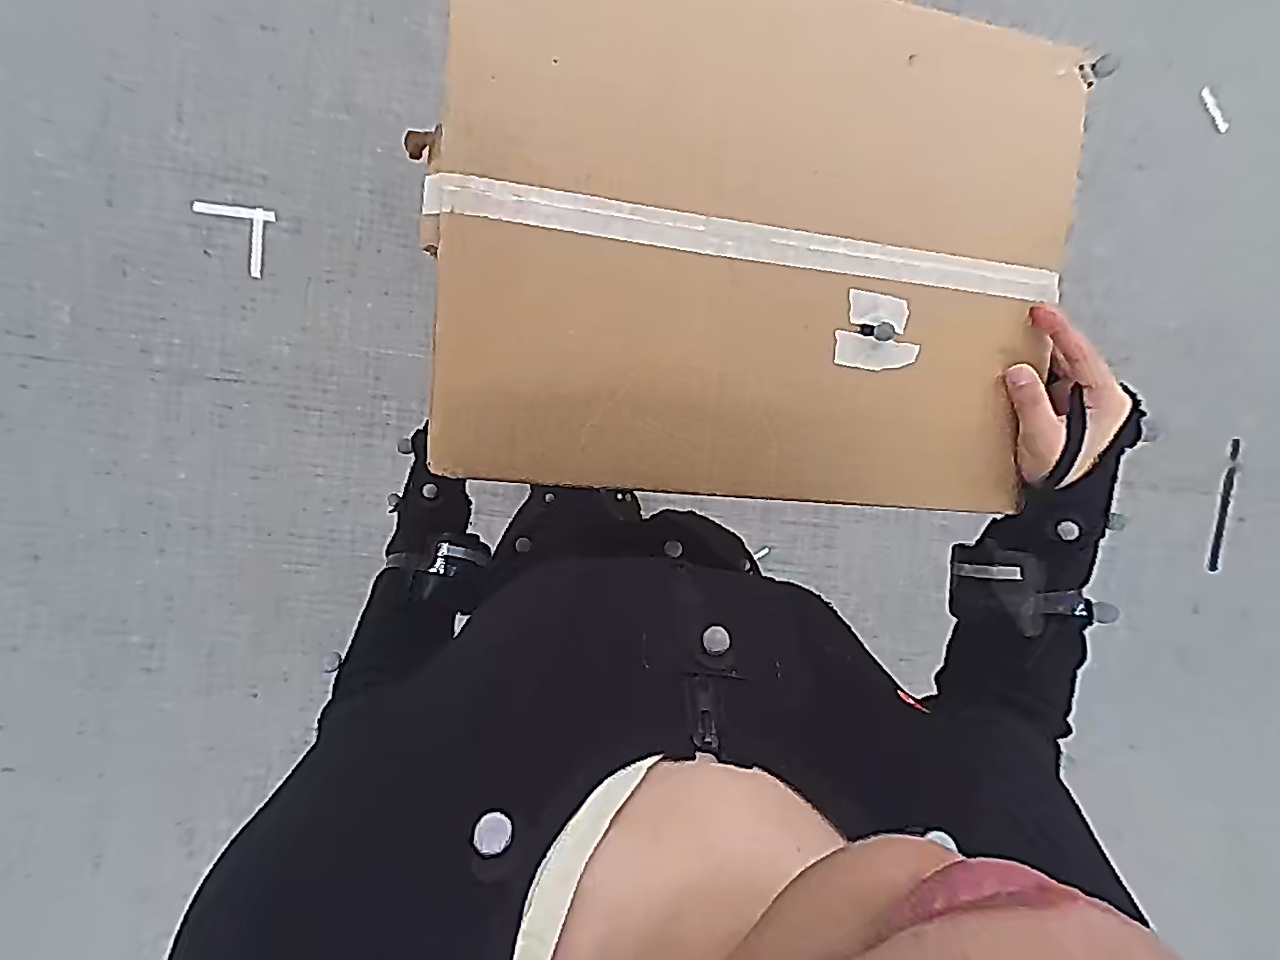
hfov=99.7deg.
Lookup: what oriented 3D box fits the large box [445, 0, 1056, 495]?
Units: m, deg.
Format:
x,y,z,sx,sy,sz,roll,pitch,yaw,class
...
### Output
x,y,z,sx,sy,sz,roll,pitch,yaw,class
0.055,-0.164,0.492,0.408,0.320,0.320,4,96,-12,large box
